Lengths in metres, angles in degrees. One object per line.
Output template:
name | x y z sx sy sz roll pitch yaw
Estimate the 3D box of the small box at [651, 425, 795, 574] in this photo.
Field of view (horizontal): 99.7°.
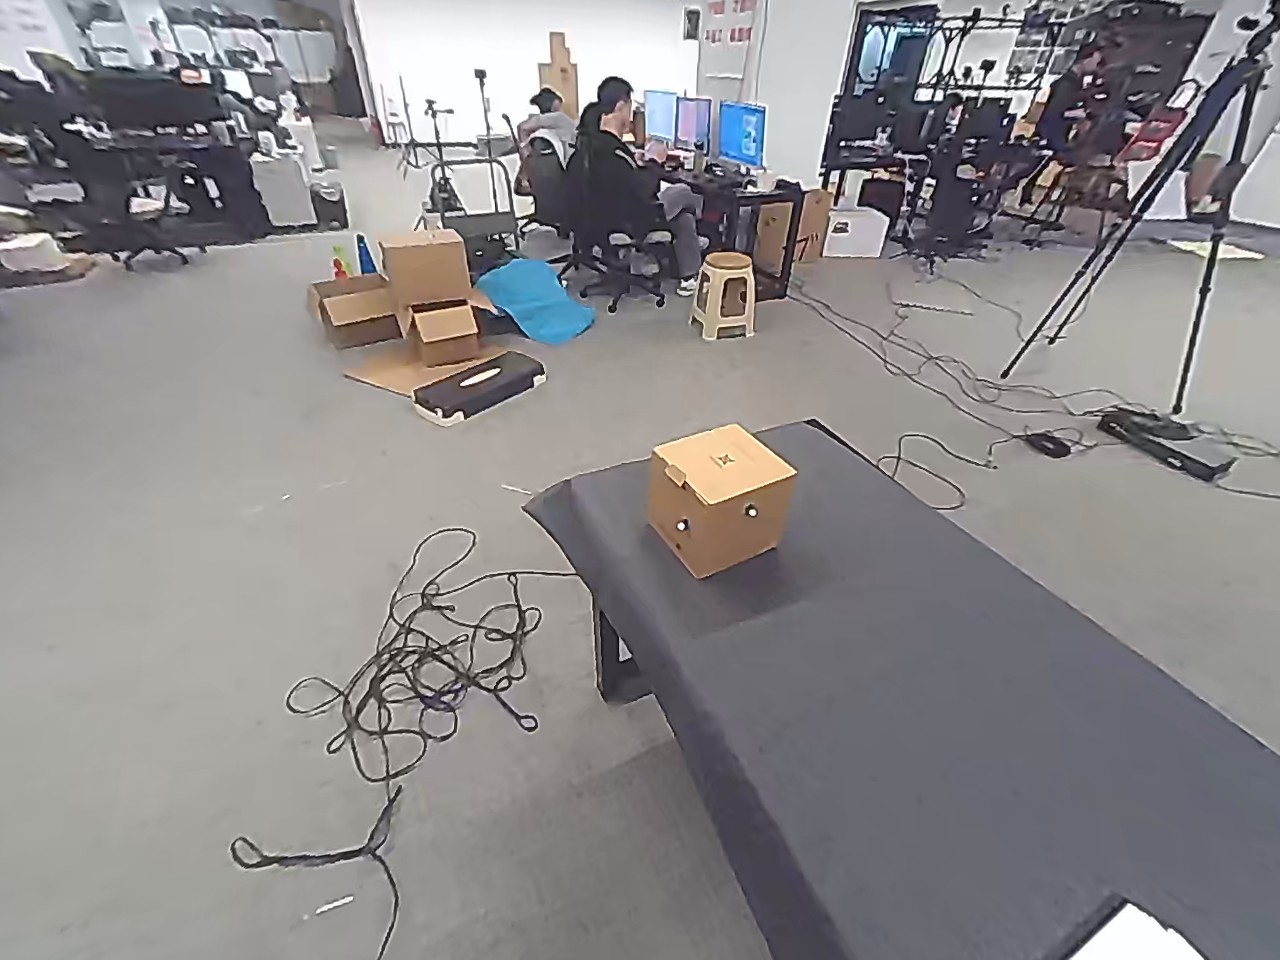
small box | 0.131 0.033 0.920 0.179 0.176 0.168 -17 42 -25
